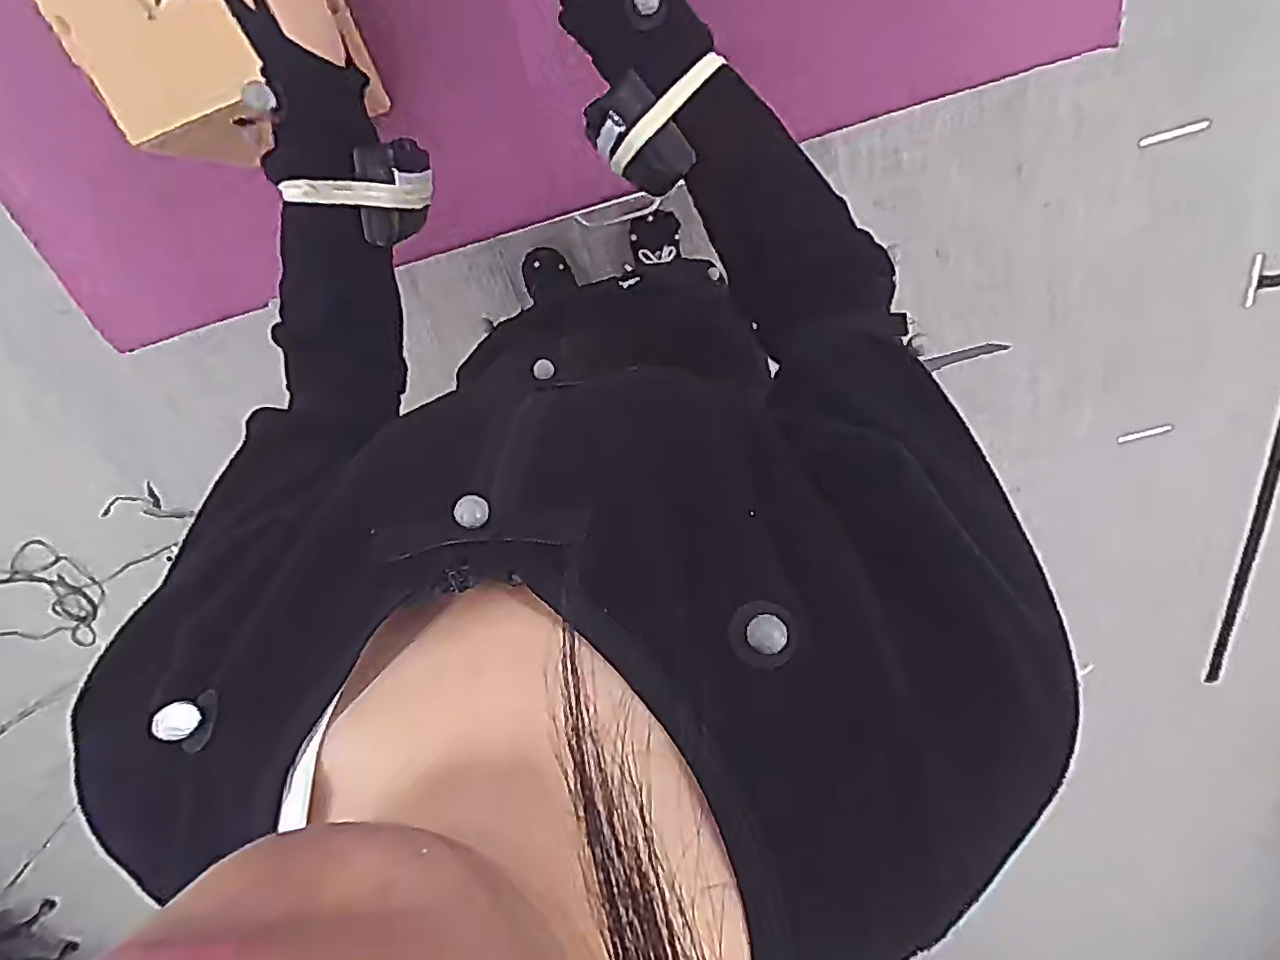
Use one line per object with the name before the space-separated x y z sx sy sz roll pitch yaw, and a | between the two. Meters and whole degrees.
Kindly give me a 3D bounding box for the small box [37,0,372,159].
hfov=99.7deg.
small box | -0.369 -0.406 0.478 0.179 0.176 0.168 -18 116 6
